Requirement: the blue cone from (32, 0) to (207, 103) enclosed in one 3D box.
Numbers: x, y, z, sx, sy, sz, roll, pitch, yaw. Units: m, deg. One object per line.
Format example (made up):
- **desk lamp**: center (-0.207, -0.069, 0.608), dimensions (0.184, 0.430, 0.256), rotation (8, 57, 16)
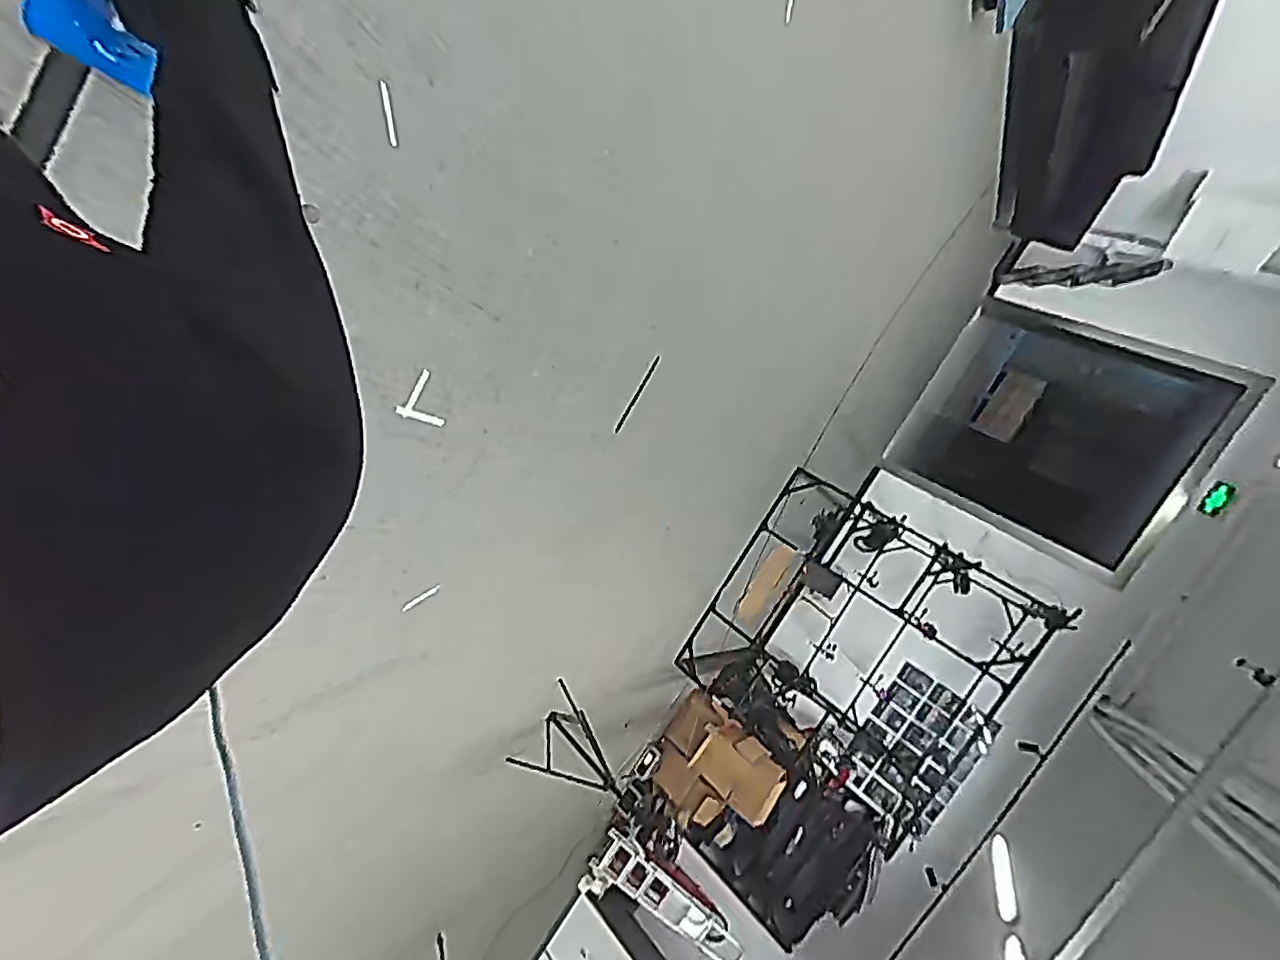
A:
- **blue cone**: center (-0.753, -0.699, 0.825), dimensions (0.192, 0.380, 0.193), rotation (15, 107, -59)
